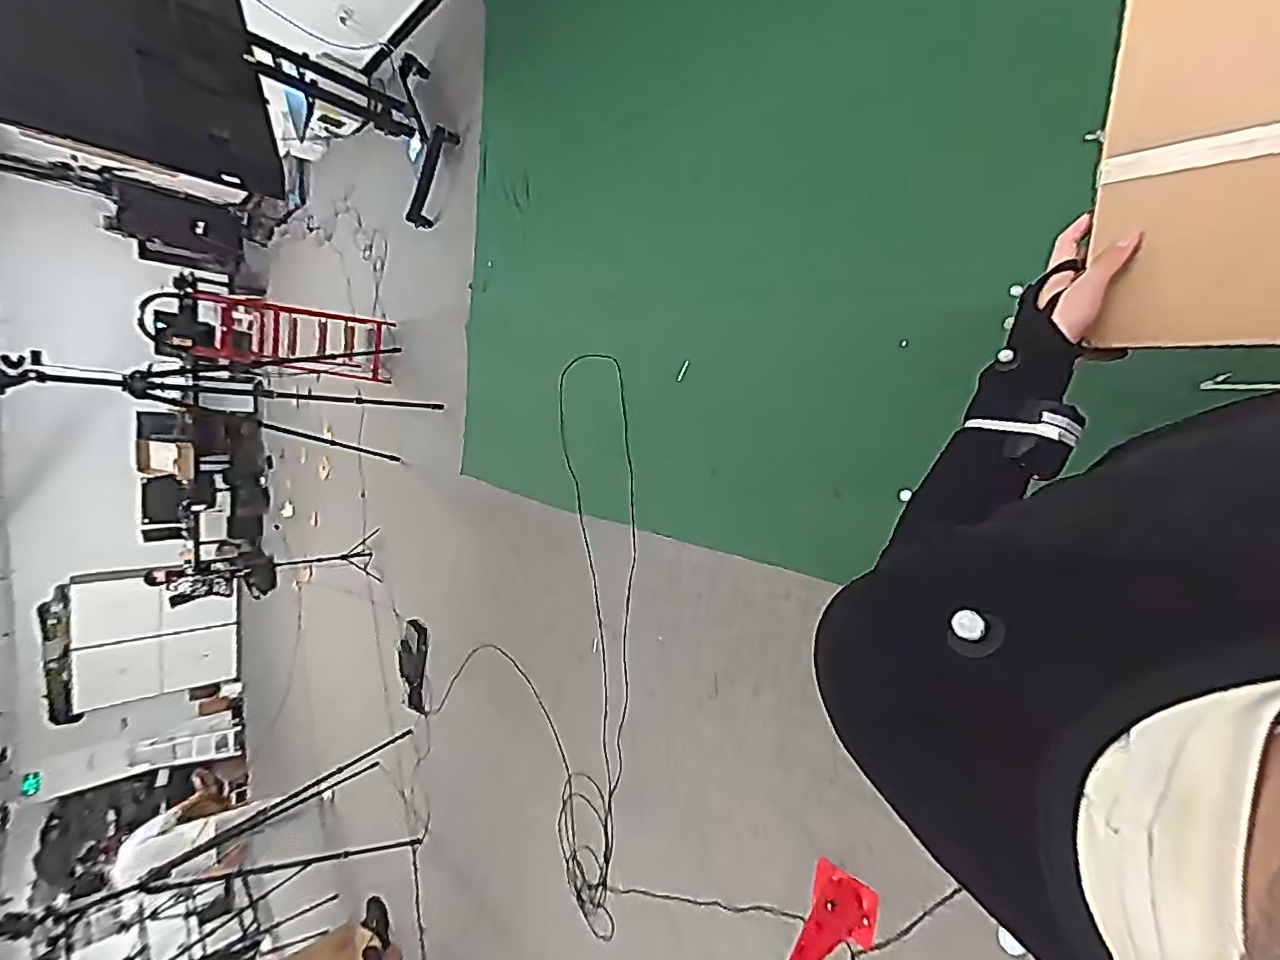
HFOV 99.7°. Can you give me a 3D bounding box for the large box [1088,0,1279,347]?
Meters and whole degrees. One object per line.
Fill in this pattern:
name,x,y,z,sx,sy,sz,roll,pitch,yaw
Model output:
large box,0.674,-0.284,0.462,0.408,0.320,0.320,10,108,44
